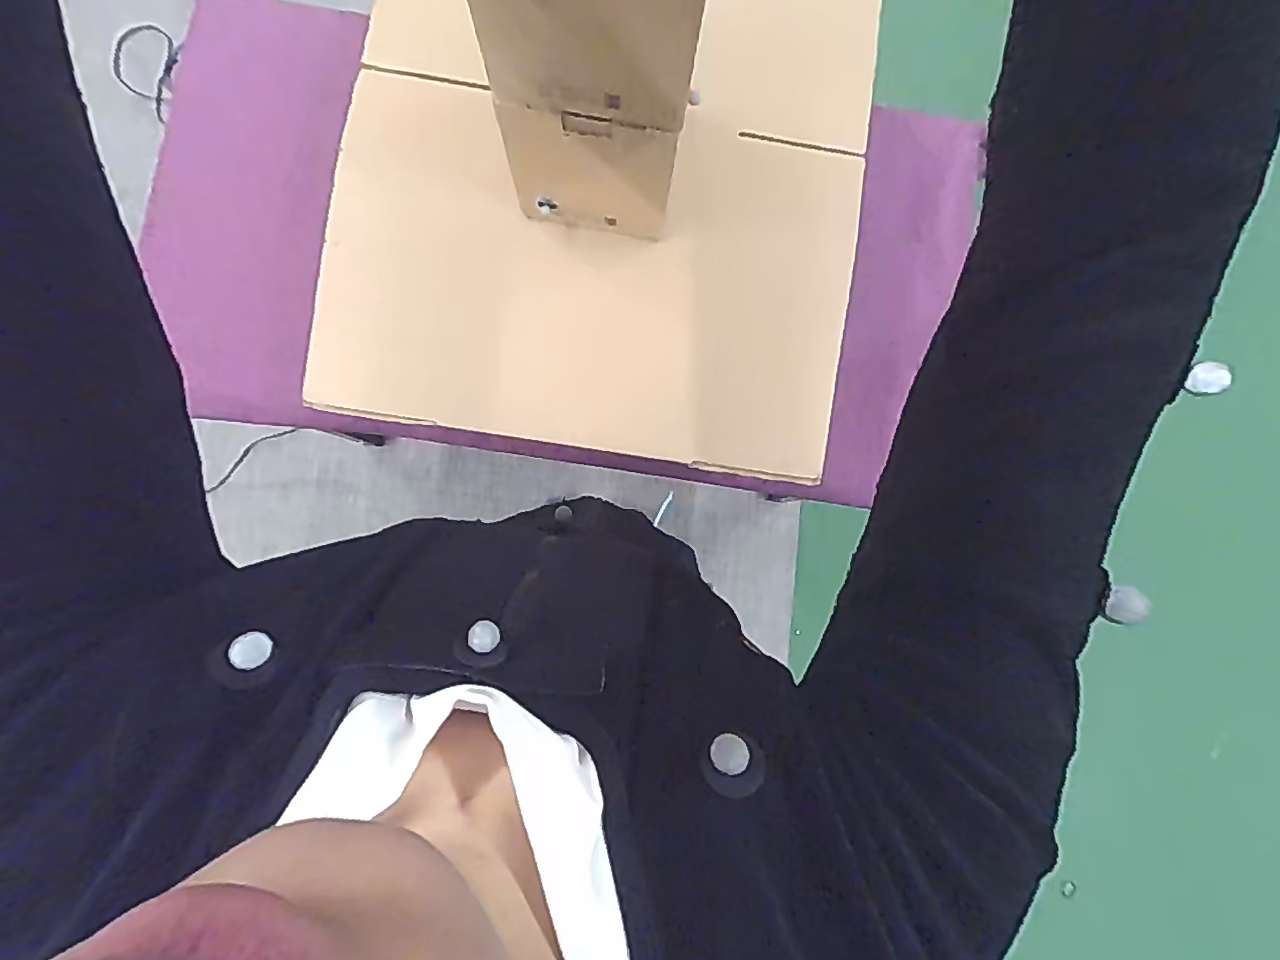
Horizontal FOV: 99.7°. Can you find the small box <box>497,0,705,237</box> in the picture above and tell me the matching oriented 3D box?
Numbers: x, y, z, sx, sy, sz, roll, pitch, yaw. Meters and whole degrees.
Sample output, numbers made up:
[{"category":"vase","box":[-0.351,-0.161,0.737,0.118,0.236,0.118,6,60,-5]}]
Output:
[{"category":"small box","box":[-0.034,-0.382,0.557,0.168,0.176,0.179,9,83,-2]}]
